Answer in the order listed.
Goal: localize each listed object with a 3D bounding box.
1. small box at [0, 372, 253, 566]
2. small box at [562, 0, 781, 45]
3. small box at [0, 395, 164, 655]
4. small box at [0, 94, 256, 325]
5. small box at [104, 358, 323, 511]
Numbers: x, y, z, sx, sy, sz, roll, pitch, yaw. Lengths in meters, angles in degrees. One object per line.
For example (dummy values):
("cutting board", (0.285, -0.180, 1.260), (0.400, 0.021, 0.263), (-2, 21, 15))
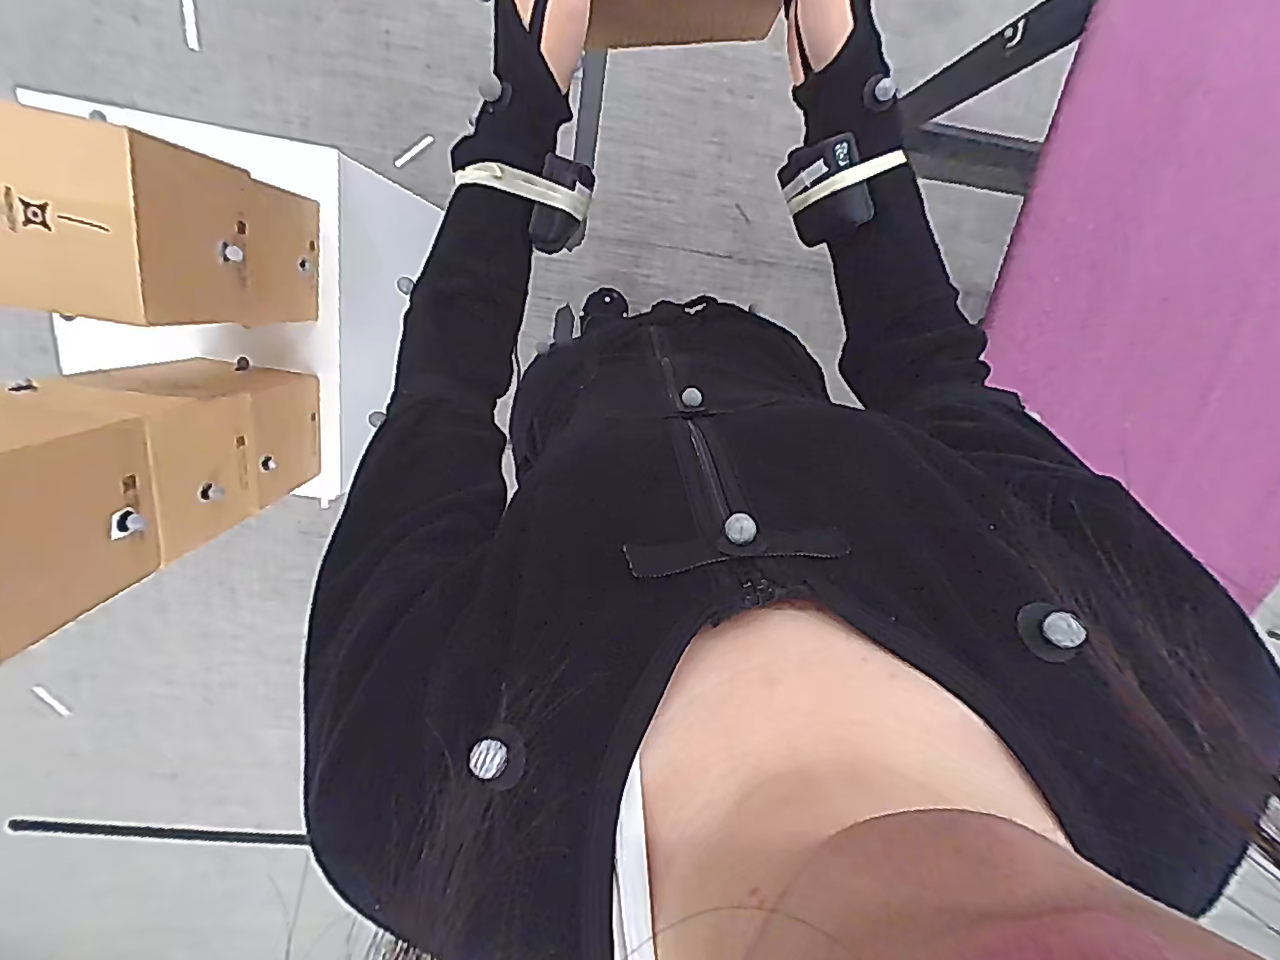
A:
("small box", (-0.567, -0.022, 0.604), (0.179, 0.176, 0.168), (7, 108, -5))
("small box", (0.025, -0.430, 0.368), (0.179, 0.176, 0.168), (-3, 108, 0))
("small box", (-0.559, 0.027, 0.450), (0.179, 0.176, 0.168), (6, 108, -6))
("small box", (-0.519, -0.253, 0.529), (0.179, 0.176, 0.168), (9, 108, -8))
("small box", (-0.578, -0.072, 0.758), (0.179, 0.176, 0.168), (8, 108, -5))
